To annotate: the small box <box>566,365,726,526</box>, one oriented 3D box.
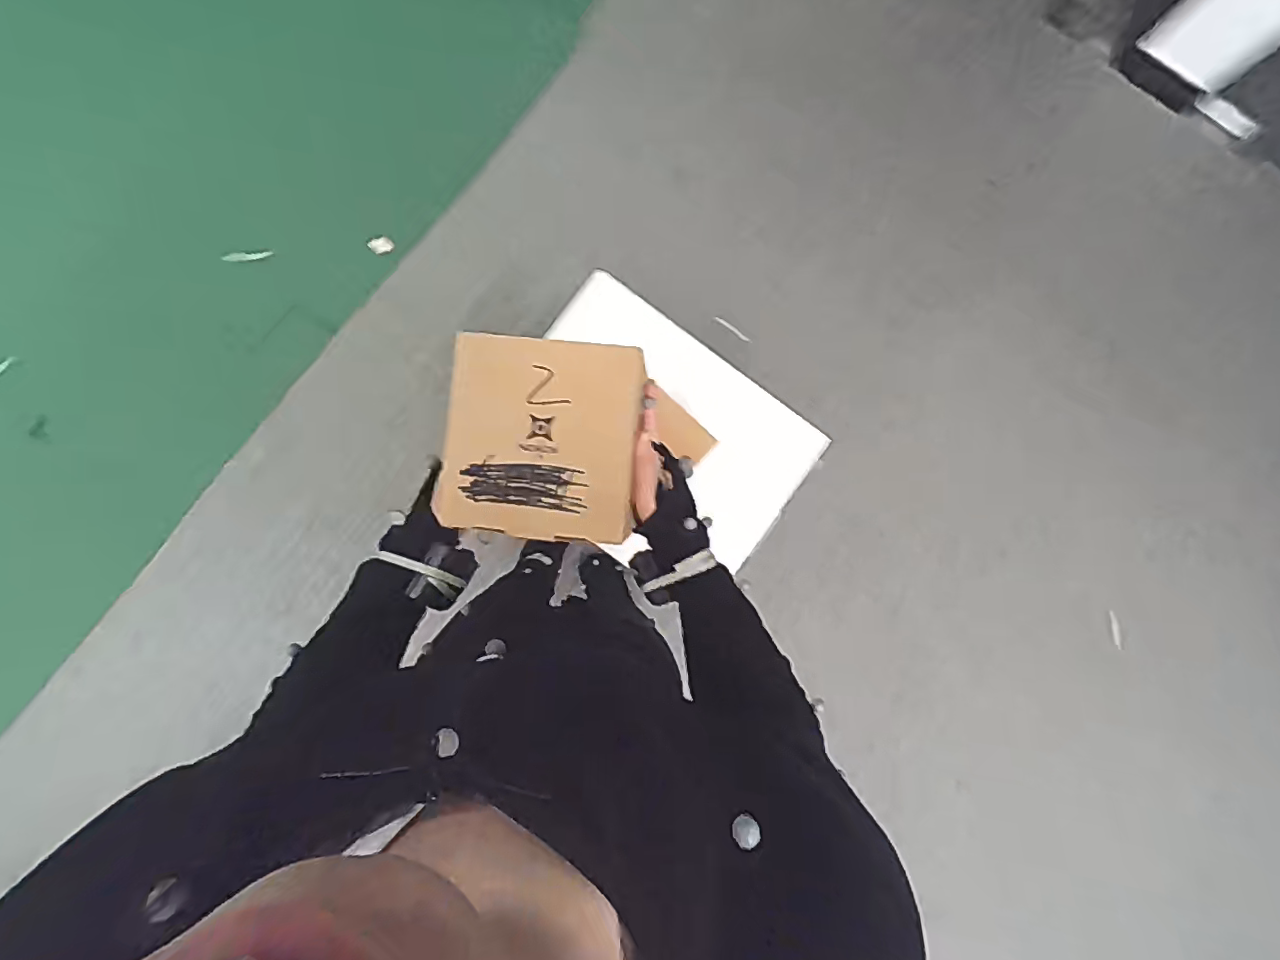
[{"bbox_3d":[0.003,-0.045,0.848,0.168,0.176,0.179,43,84,1],"label":"small box"}]
